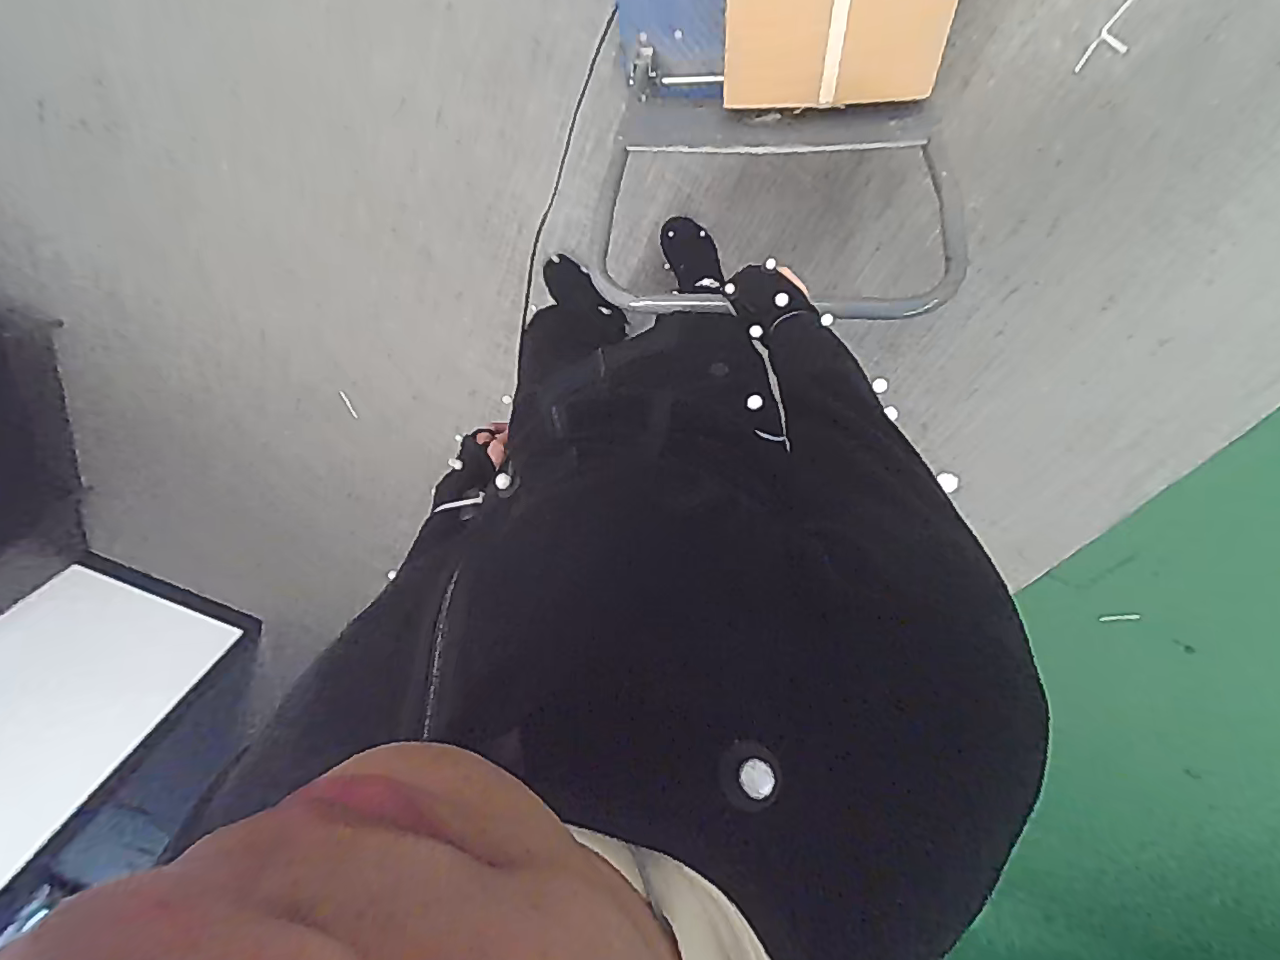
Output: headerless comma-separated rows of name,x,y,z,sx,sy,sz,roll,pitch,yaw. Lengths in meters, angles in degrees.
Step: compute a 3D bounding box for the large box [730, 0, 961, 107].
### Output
large box,0.300,-0.833,0.783,0.320,0.320,0.408,3,143,9
